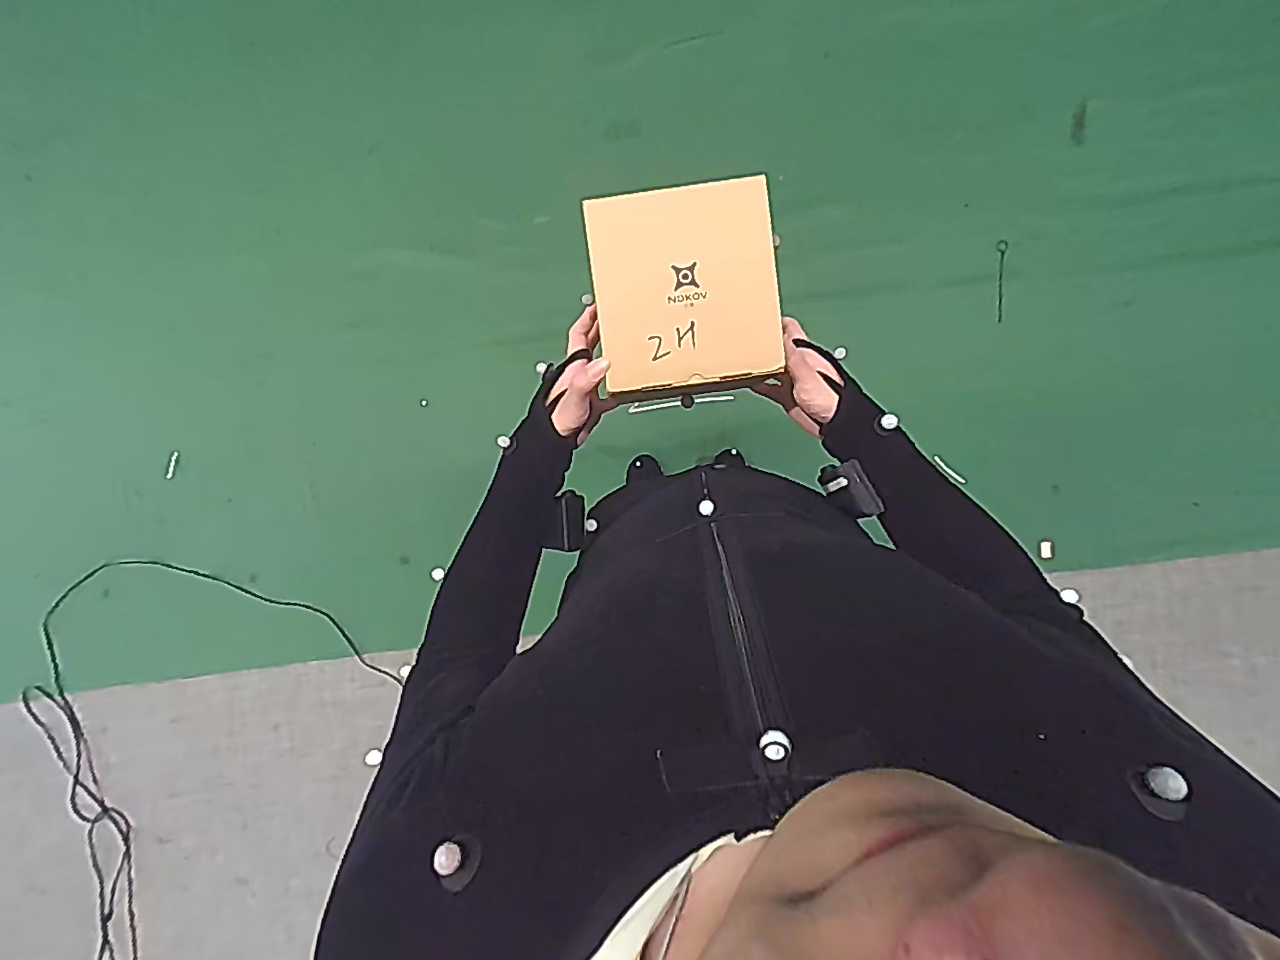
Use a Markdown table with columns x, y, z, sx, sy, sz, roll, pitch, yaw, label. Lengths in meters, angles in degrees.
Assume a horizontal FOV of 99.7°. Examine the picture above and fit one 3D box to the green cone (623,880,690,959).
| x | y | z | sx | sy | sz | roll | pitch | yaw | label |
| --- | --- | --- | --- | --- | --- | --- | --- | --- | --- |
| 0.042 | 1.377 | 1.544 | 0.202 | 0.368 | 0.200 | -6 | 93 | 3 | green cone |
